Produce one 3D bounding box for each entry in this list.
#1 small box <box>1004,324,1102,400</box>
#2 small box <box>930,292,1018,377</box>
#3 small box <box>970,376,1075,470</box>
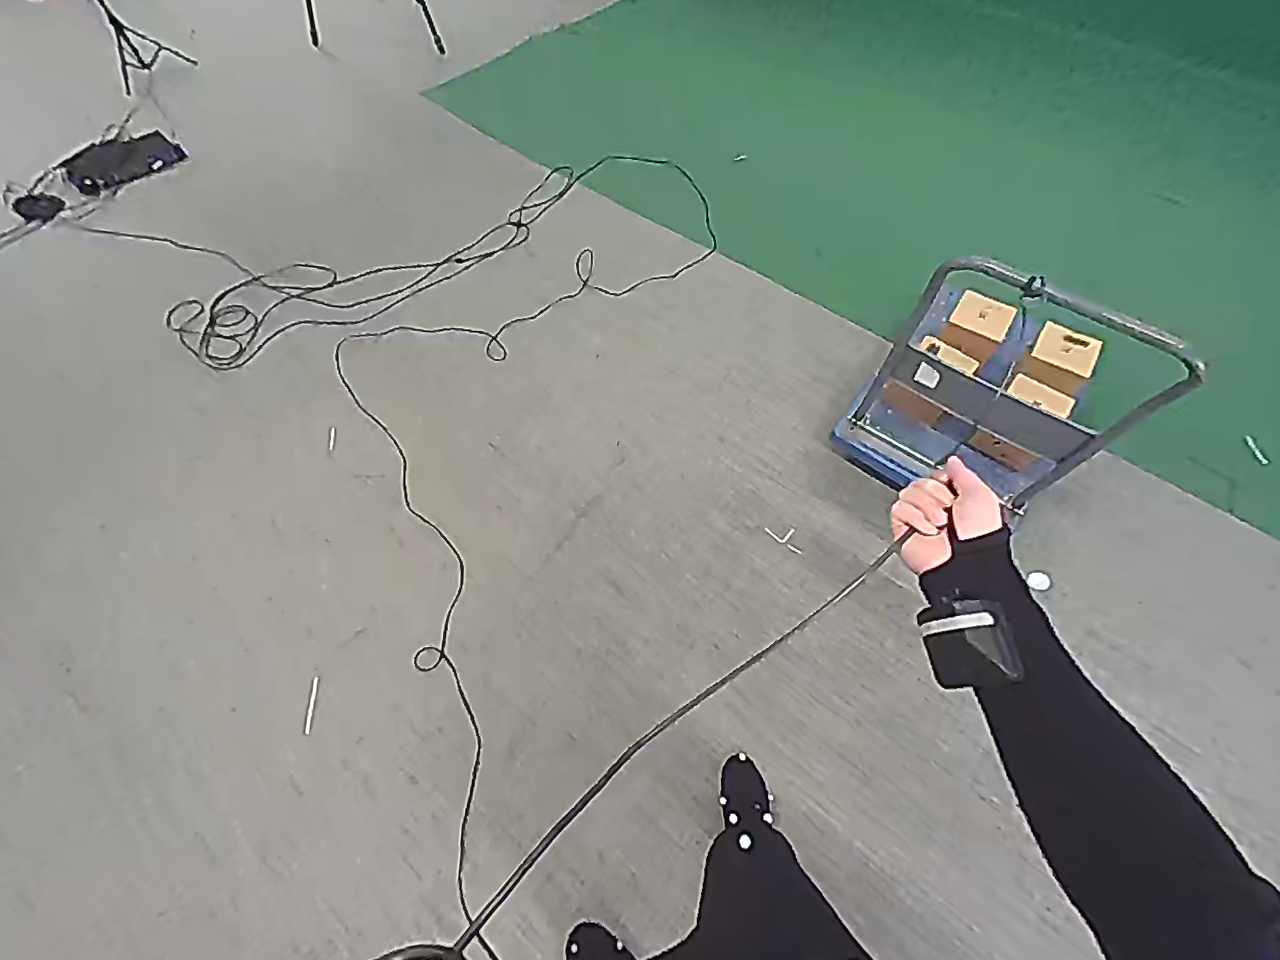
[{"bbox_3d":[1.290,-0.347,1.699,0.168,0.176,0.179,32,66,18],"label":"small box"},{"bbox_3d":[1.085,-0.472,1.772,0.168,0.176,0.179,32,65,17],"label":"small box"},{"bbox_3d":[1.118,-0.165,1.596,0.168,0.176,0.179,36,67,19],"label":"small box"}]
